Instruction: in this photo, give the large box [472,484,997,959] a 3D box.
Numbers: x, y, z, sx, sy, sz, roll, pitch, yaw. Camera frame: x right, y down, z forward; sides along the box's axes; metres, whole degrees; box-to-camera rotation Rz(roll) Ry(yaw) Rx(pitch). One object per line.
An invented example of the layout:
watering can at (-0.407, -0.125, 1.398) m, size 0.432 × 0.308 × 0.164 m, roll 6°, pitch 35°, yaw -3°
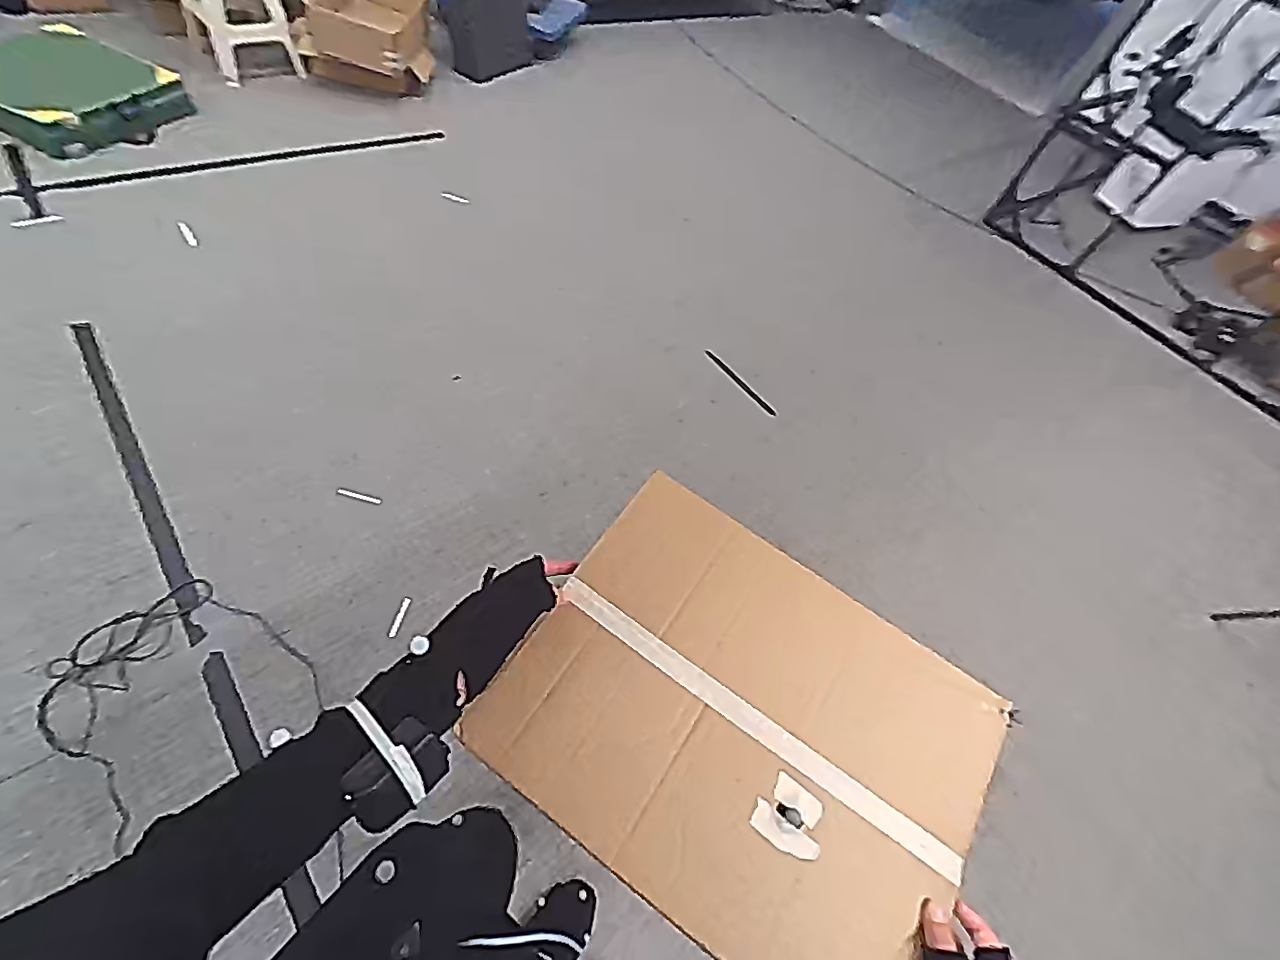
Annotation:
large box at (0.082, 0.280, 0.624) m, size 0.408 × 0.320 × 0.320 m, roll 34°, pitch 66°, yaw 10°
